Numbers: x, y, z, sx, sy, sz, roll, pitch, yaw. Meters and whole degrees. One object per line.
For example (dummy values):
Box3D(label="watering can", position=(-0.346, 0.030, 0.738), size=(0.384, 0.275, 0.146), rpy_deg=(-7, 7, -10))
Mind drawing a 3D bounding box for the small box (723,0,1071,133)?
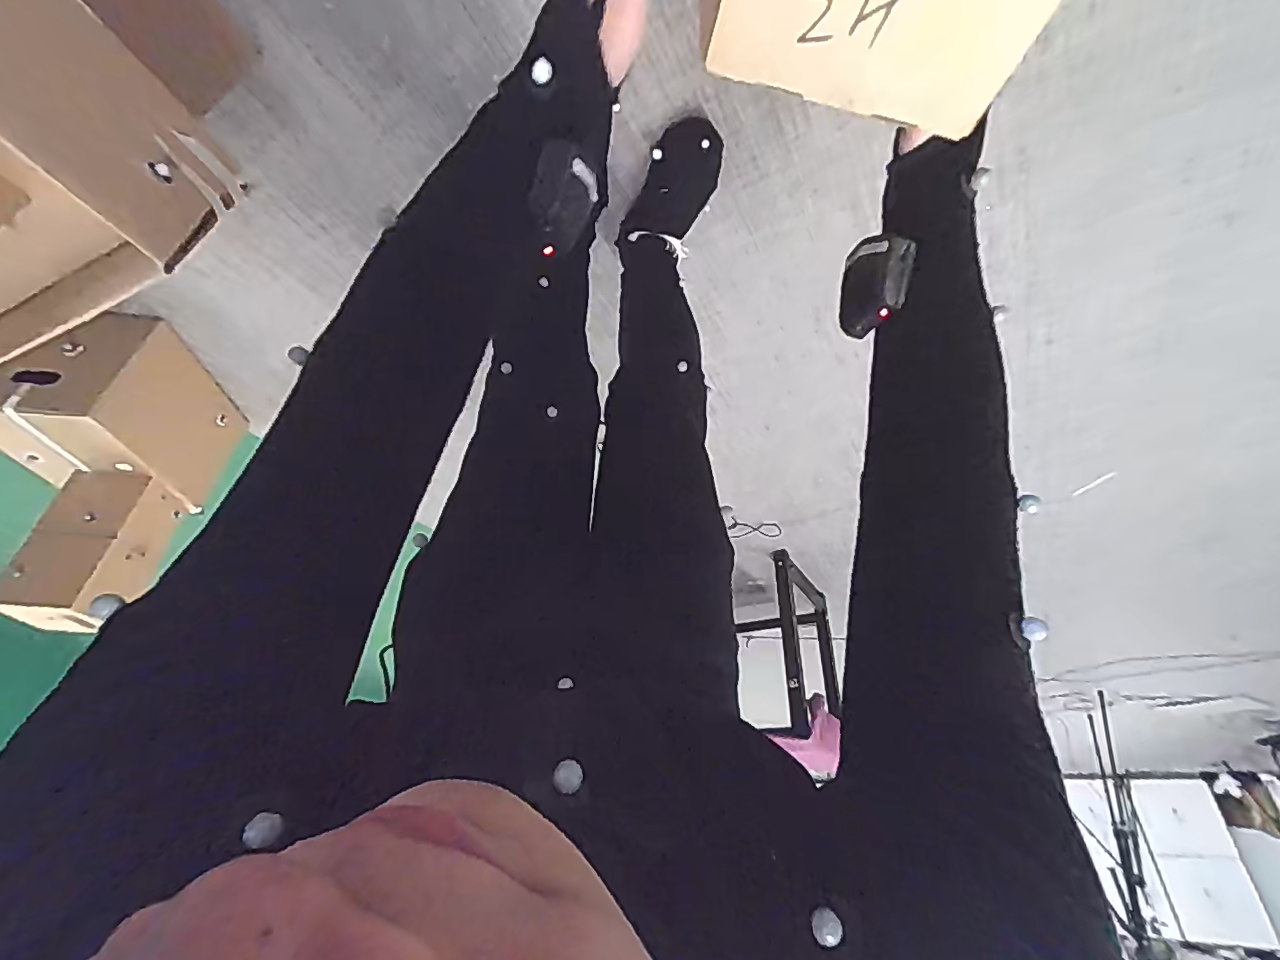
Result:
Box3D(label="small box", position=(0.143, -0.331, 0.281), size=(0.168, 0.176, 0.179), rpy_deg=(9, 149, -9))

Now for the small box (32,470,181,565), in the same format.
Box3D(label="small box", position=(-1.268, 0.092, 1.308), size=(0.179, 0.176, 0.168), rpy_deg=(6, 146, -7))
